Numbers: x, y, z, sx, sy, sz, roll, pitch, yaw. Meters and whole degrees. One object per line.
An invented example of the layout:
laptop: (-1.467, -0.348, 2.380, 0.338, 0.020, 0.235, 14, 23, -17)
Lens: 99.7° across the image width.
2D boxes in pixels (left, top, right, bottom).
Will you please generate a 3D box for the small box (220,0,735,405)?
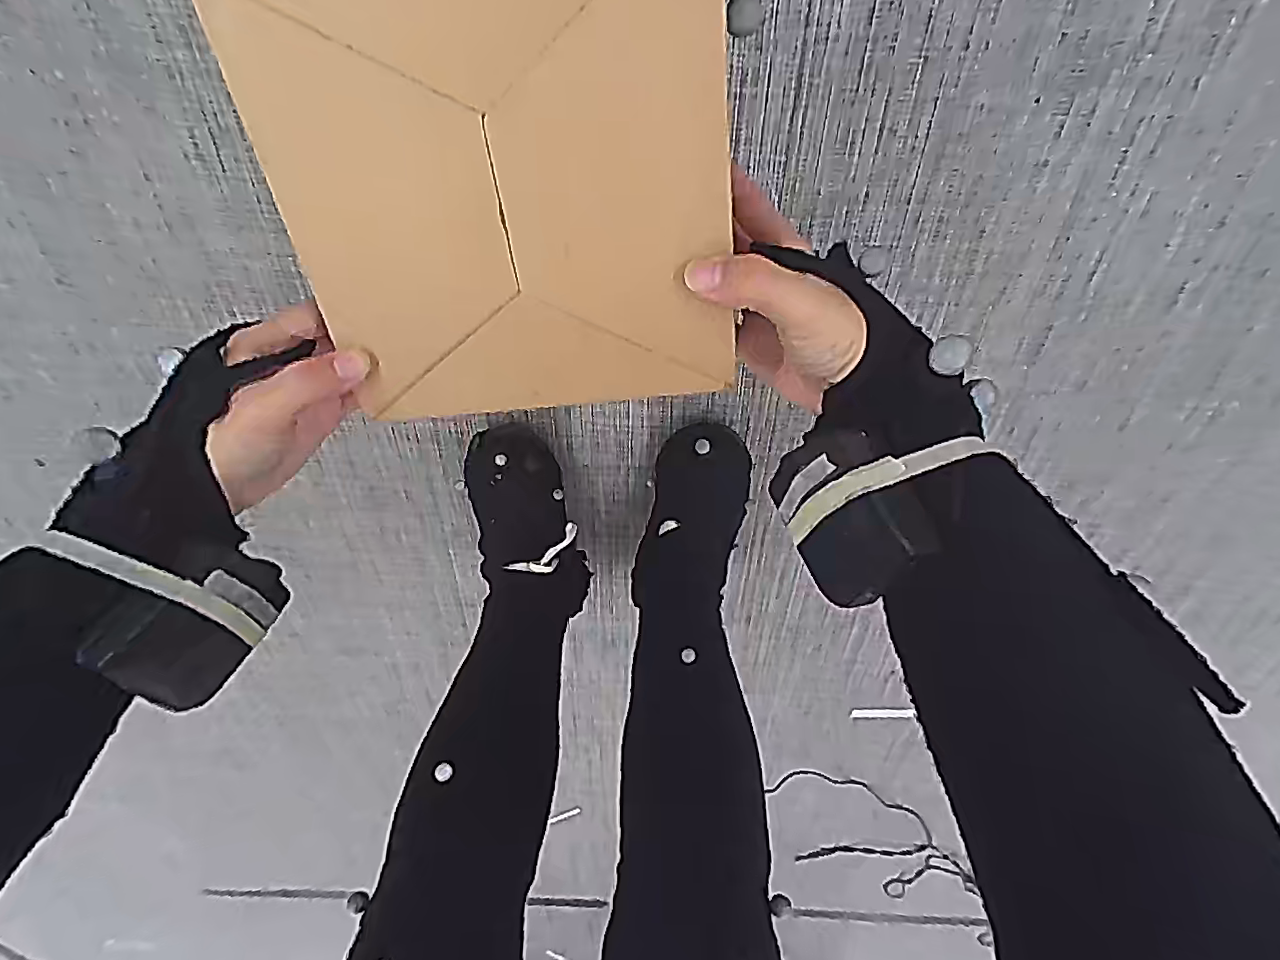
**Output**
small box: (-0.047, -0.149, 0.278, 0.179, 0.176, 0.168, -5, 121, 4)
